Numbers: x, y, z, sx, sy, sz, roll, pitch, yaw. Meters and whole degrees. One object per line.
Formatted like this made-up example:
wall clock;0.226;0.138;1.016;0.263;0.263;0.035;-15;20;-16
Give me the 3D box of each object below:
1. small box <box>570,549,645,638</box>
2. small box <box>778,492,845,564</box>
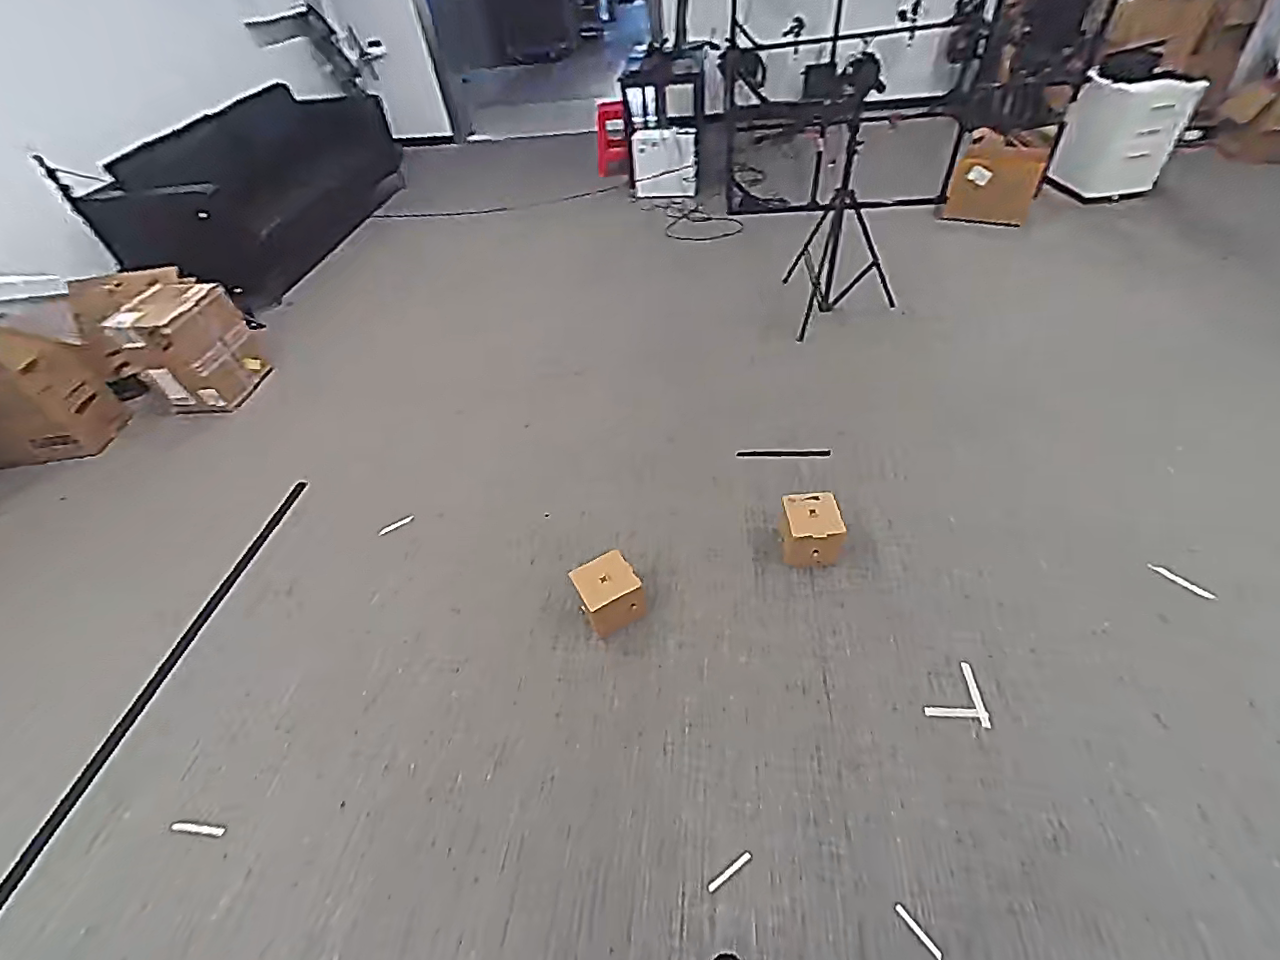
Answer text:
small box;-0.096;0.355;1.680;0.179;0.176;0.168;-27;47;-16
small box;0.556;0.163;1.775;0.168;0.176;0.179;-4;47;3
